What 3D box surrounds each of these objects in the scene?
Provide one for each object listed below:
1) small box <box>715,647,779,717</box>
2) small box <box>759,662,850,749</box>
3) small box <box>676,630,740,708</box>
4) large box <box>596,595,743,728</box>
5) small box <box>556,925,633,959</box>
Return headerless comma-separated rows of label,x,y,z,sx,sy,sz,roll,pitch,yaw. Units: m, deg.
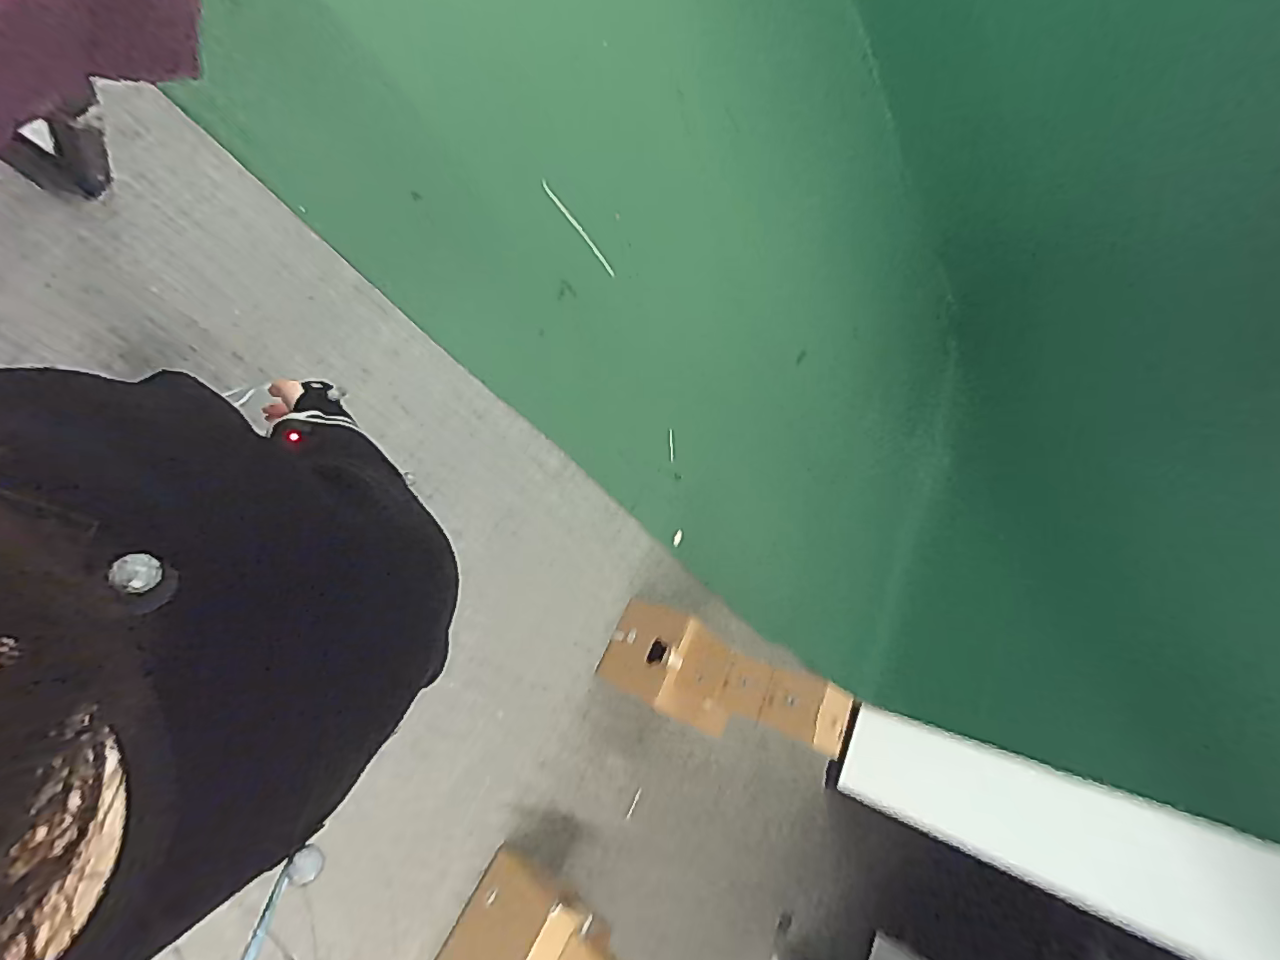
small box,0.358,0.630,1.669,0.179,0.176,0.168,37,68,-38
small box,0.467,0.637,1.546,0.179,0.176,0.168,39,67,-36
small box,0.244,0.620,1.786,0.168,0.176,0.179,41,64,-36
large box,0.114,0.664,2.000,0.408,0.320,0.320,43,65,-36
small box,-0.131,1.371,1.484,0.179,0.176,0.168,51,60,-34
